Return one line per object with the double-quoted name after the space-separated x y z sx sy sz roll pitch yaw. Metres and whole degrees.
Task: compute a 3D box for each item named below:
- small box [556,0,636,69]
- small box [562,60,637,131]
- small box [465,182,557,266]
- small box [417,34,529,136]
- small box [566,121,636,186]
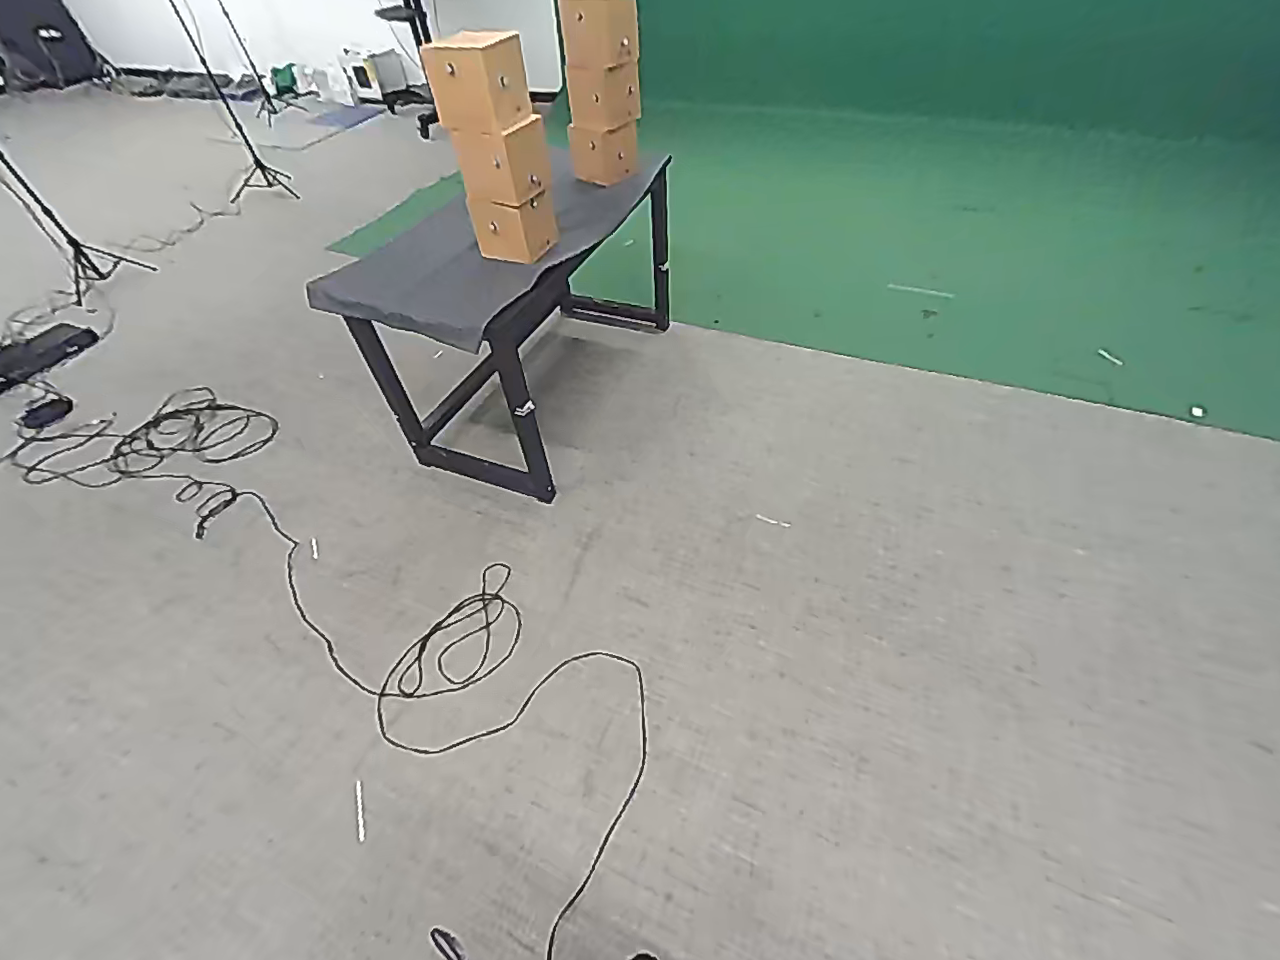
-0.130 -1.383 1.661 0.179 0.176 0.168 23 54 24 "small box"
-0.126 -1.270 1.781 0.179 0.176 0.168 28 56 29 "small box"
-0.364 -0.738 1.558 0.179 0.176 0.168 15 52 18 "small box"
-0.396 -0.960 1.319 0.179 0.176 0.168 15 52 18 "small box"
-0.130 -1.153 1.894 0.179 0.176 0.168 33 59 31 "small box"
